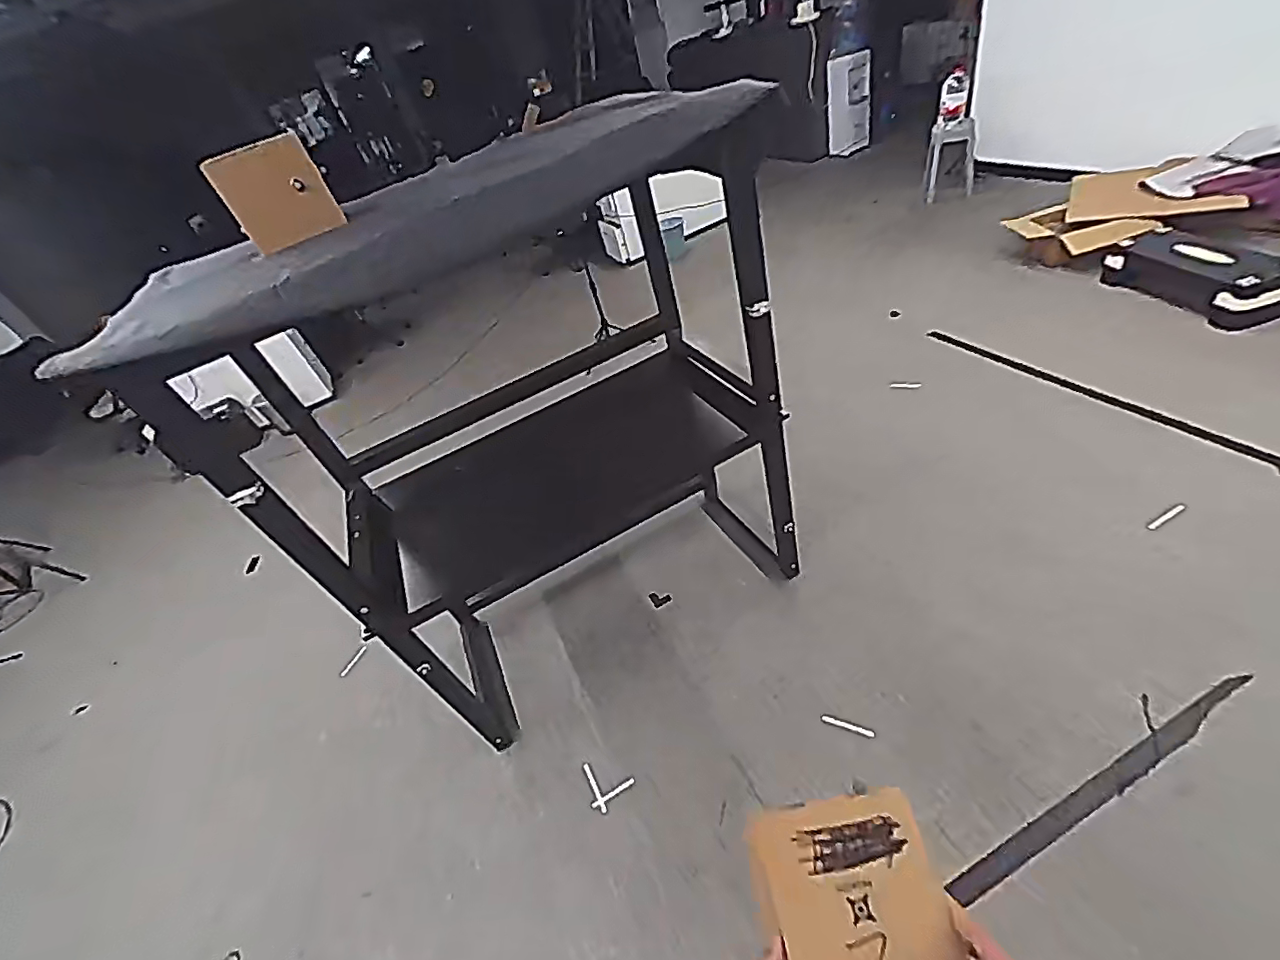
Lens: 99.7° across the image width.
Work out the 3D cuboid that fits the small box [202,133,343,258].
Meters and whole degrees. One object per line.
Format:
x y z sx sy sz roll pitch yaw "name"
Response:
-0.724 -0.573 1.088 0.179 0.176 0.168 -30 41 -13 "small box"
